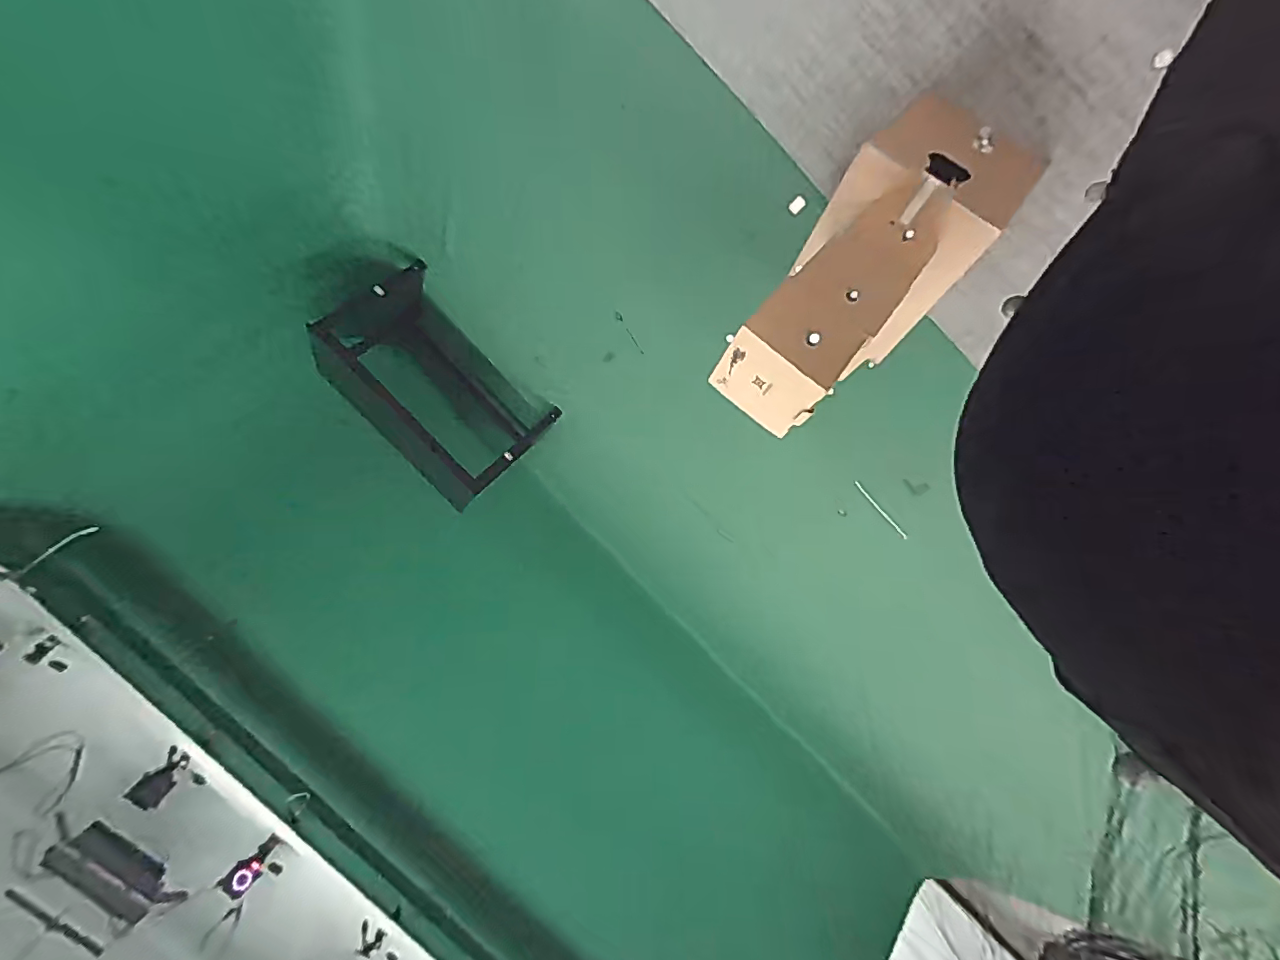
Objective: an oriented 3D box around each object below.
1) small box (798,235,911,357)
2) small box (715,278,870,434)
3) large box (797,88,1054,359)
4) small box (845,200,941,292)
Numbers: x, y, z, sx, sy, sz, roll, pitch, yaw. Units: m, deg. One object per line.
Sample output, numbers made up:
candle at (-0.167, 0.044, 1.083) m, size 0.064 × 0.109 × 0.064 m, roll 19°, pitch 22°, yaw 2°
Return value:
small box at (0.374, -0.328, 1.030) m, size 0.179 × 0.176 × 0.168 m, roll 41°, pitch 153°, yaw 4°
small box at (0.271, -0.221, 0.960) m, size 0.179 × 0.176 × 0.168 m, roll 39°, pitch 153°, yaw 4°
large box at (0.622, -0.573, 1.245) m, size 0.320 × 0.320 × 0.408 m, roll 40°, pitch 155°, yaw 9°
small box at (0.476, -0.427, 1.112) m, size 0.168 × 0.176 × 0.179 m, roll 40°, pitch 153°, yaw 5°
